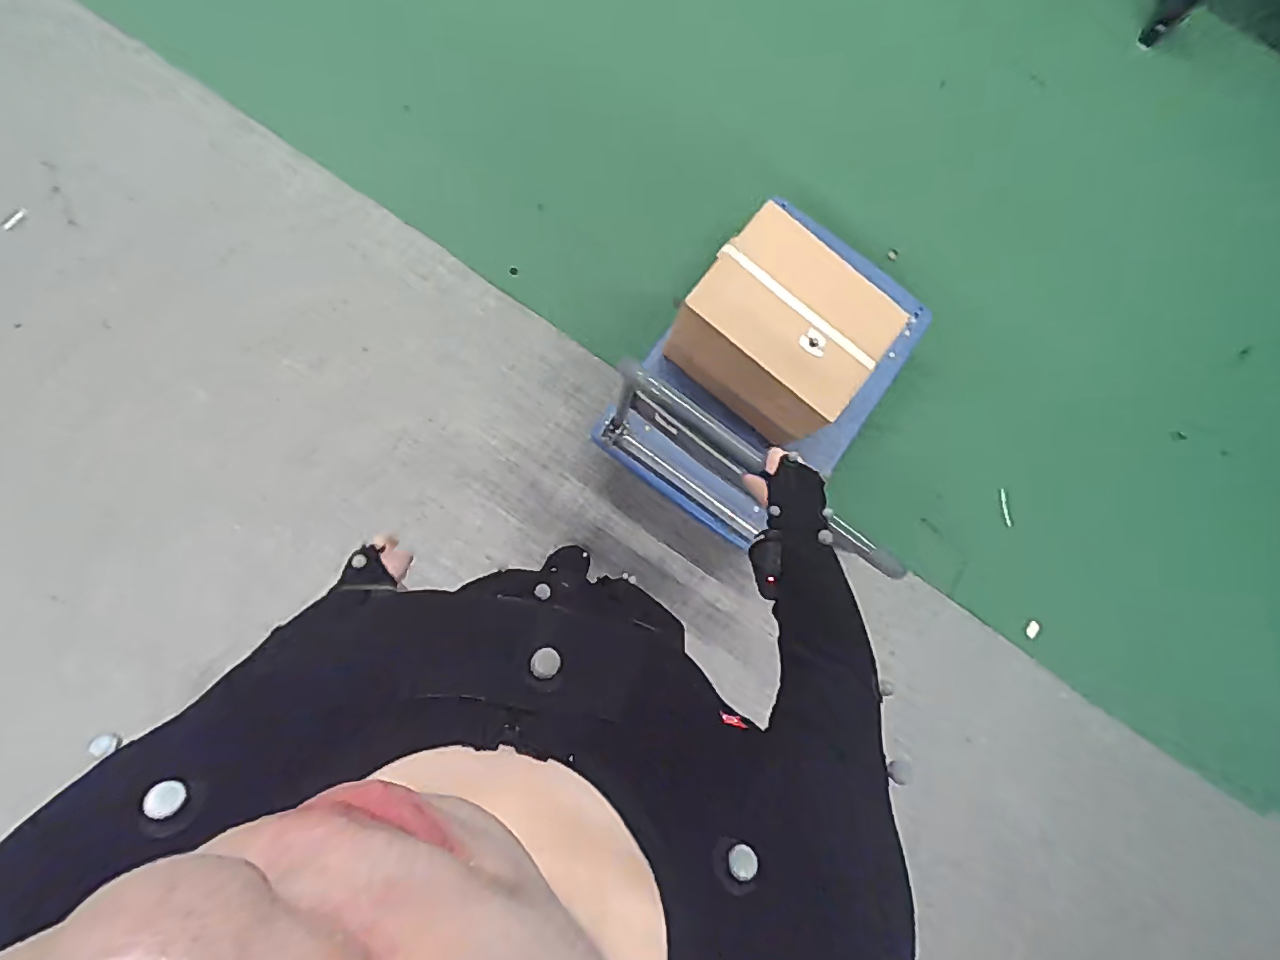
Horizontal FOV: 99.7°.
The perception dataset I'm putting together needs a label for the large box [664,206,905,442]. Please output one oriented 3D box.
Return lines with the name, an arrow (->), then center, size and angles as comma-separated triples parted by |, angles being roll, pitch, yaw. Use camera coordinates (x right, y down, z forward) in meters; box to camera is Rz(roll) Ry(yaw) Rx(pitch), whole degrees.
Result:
large box -> 0.323, -0.352, 1.313 | 0.408, 0.320, 0.320 | 39, 81, -1
